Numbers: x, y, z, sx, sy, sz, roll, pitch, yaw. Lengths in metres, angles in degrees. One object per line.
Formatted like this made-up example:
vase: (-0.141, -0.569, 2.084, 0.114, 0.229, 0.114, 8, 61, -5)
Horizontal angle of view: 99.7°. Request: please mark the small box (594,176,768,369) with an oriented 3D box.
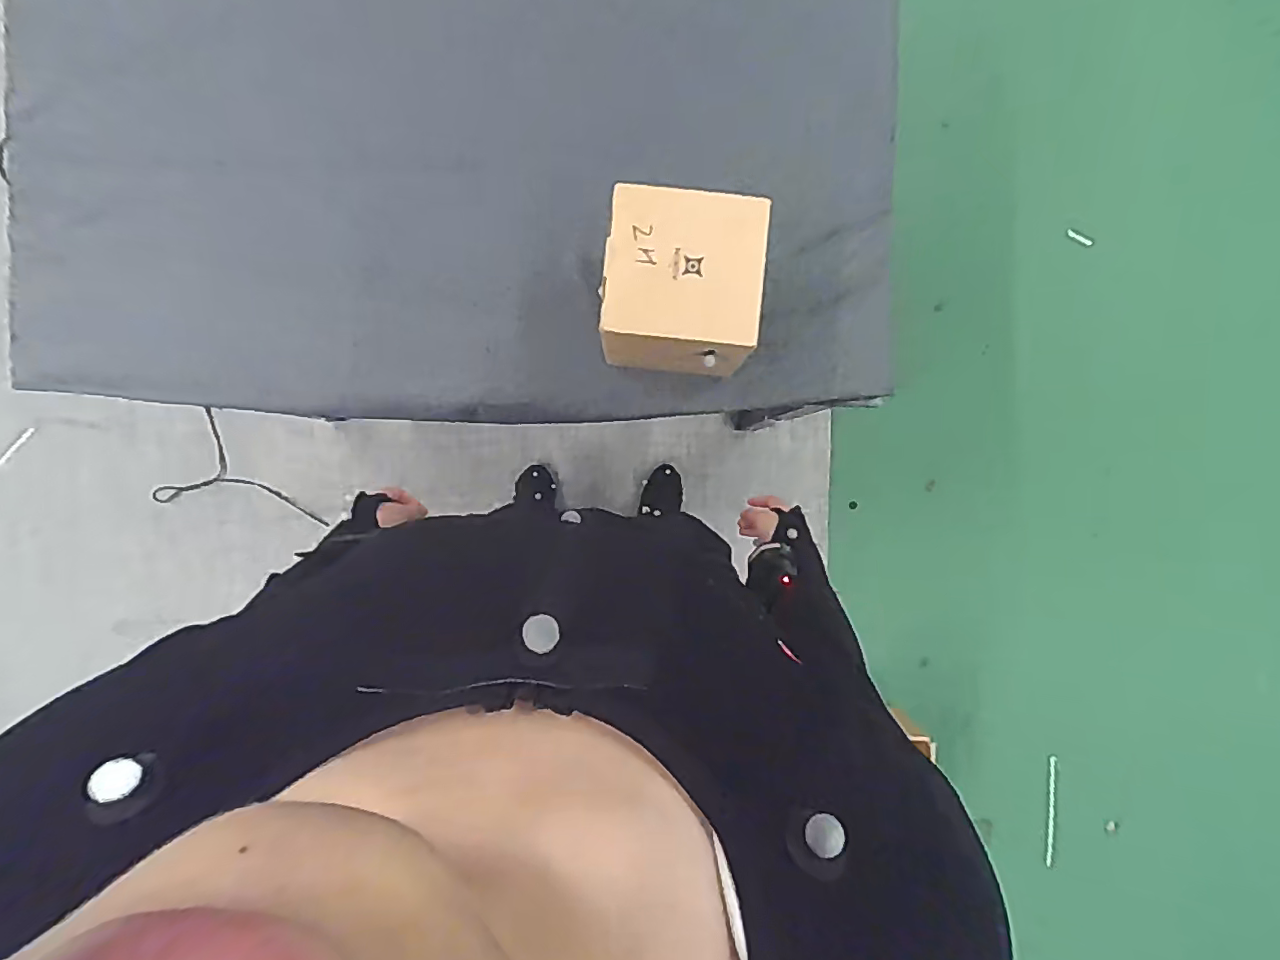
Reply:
small box: (0.043, -0.237, 0.661, 0.179, 0.176, 0.168, 6, 89, -1)
